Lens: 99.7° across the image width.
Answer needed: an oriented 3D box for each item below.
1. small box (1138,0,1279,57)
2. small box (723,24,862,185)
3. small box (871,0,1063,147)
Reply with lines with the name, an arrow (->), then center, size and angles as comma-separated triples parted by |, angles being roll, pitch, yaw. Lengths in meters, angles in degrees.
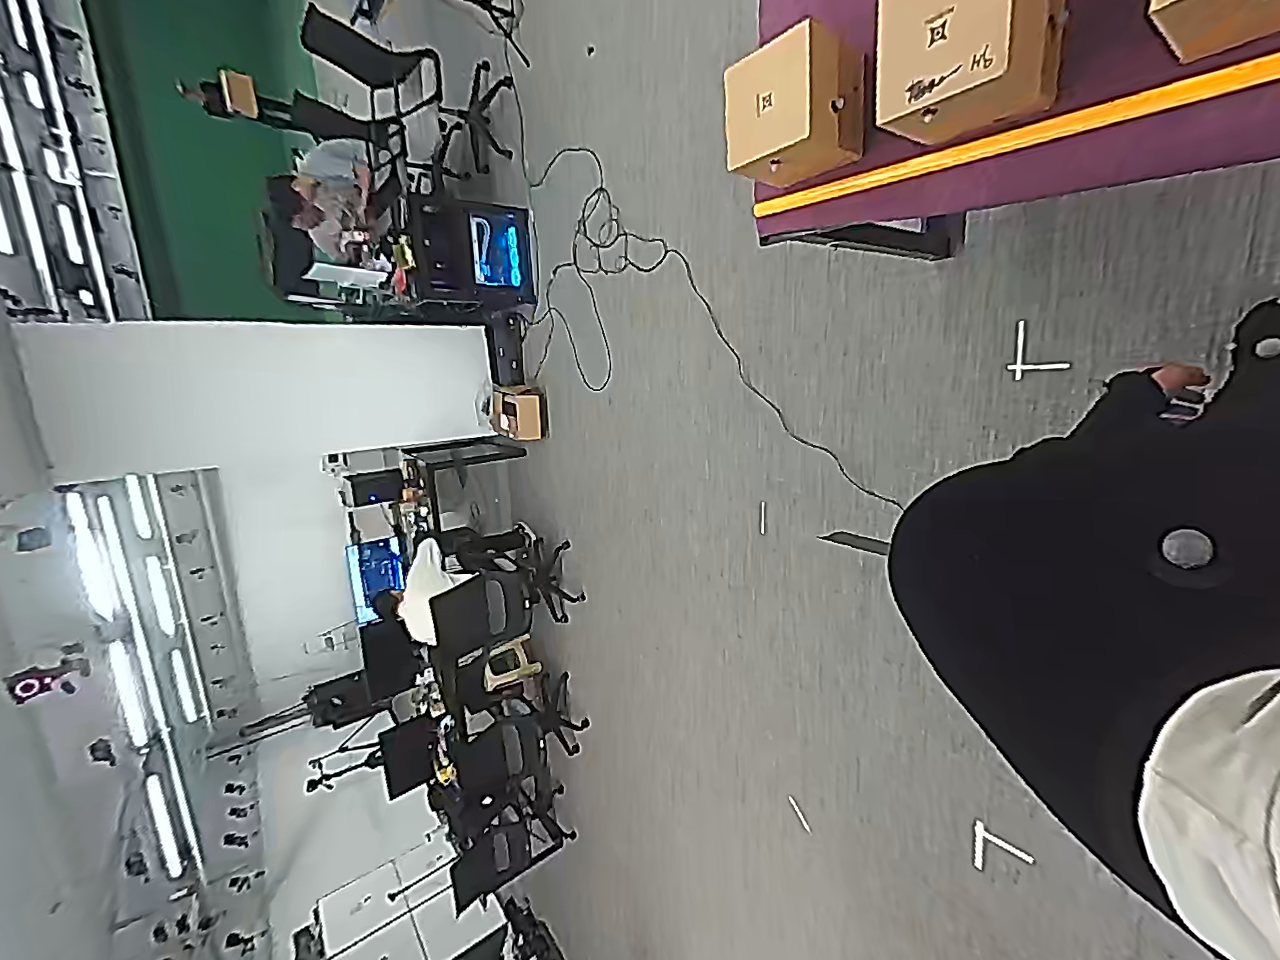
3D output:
small box -> 0.607, -0.538, 0.498 | 0.179, 0.176, 0.168 | 12, 108, 53
small box -> 0.267, -0.636, 0.942 | 0.179, 0.176, 0.168 | 11, 108, 52
small box -> 0.436, -0.581, 0.724 | 0.168, 0.176, 0.179 | 15, 111, 53
